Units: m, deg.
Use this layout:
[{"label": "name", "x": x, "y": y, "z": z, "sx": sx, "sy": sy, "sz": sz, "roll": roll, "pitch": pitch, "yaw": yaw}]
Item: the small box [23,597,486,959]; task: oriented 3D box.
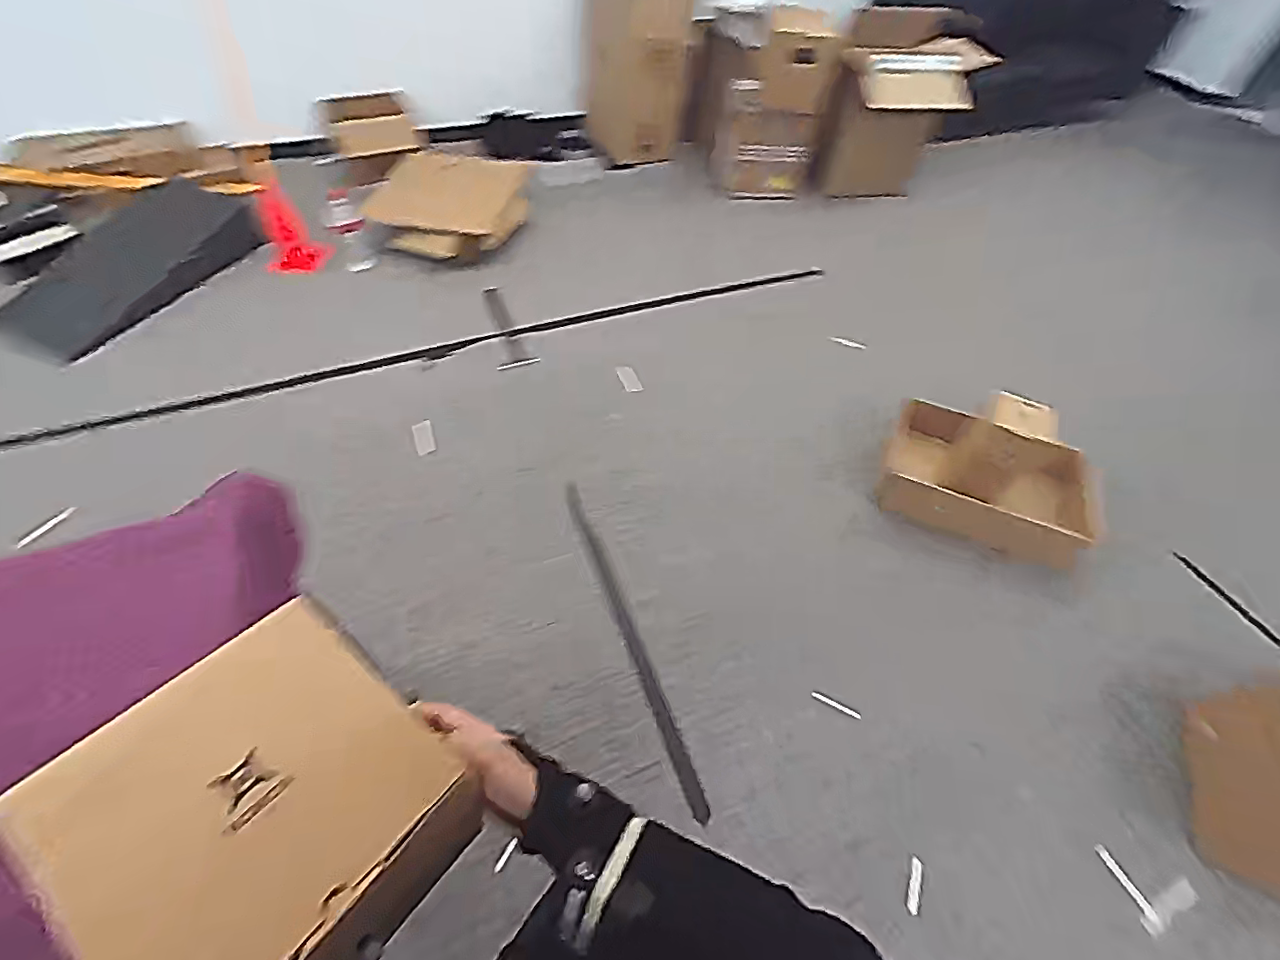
[{"label": "small box", "x": -0.224, "y": 0.222, "z": 0.364, "sx": 0.179, "sy": 0.176, "sz": 0.168, "roll": 35, "pitch": 50, "yaw": 17}]

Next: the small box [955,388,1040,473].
[{"label": "small box", "x": 1.127, "y": -0.153, "z": 1.713, "sx": 0.168, "sy": 0.176, "sz": 0.179, "roll": 24, "pitch": 54, "yaw": 12}]
